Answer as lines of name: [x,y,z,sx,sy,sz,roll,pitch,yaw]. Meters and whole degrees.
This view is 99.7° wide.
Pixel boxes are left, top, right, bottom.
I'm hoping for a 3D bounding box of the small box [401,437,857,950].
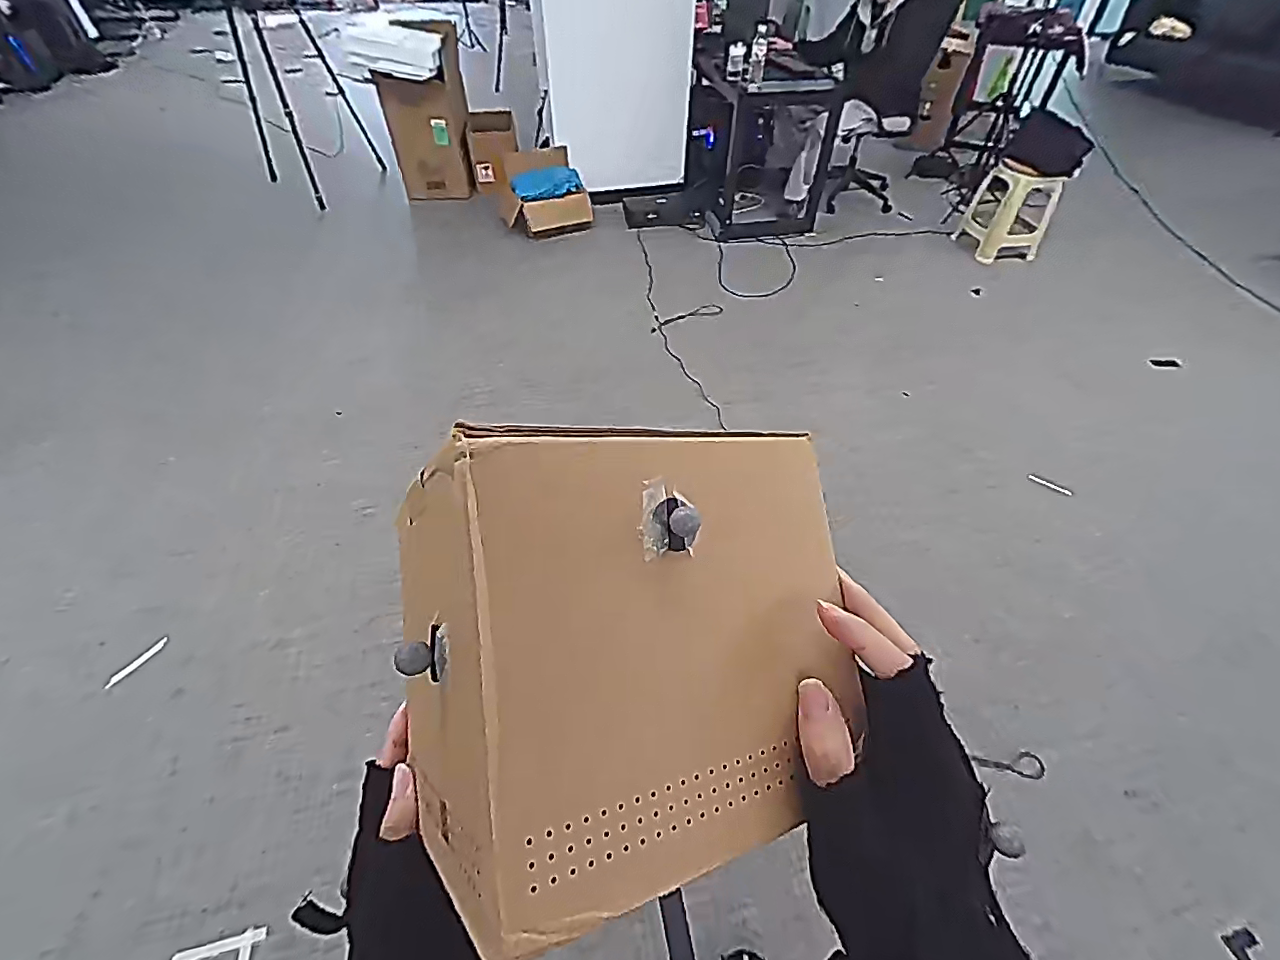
small box: [-0.016,0.083,0.280,0.179,0.168,0.176,-2,78,-30]
